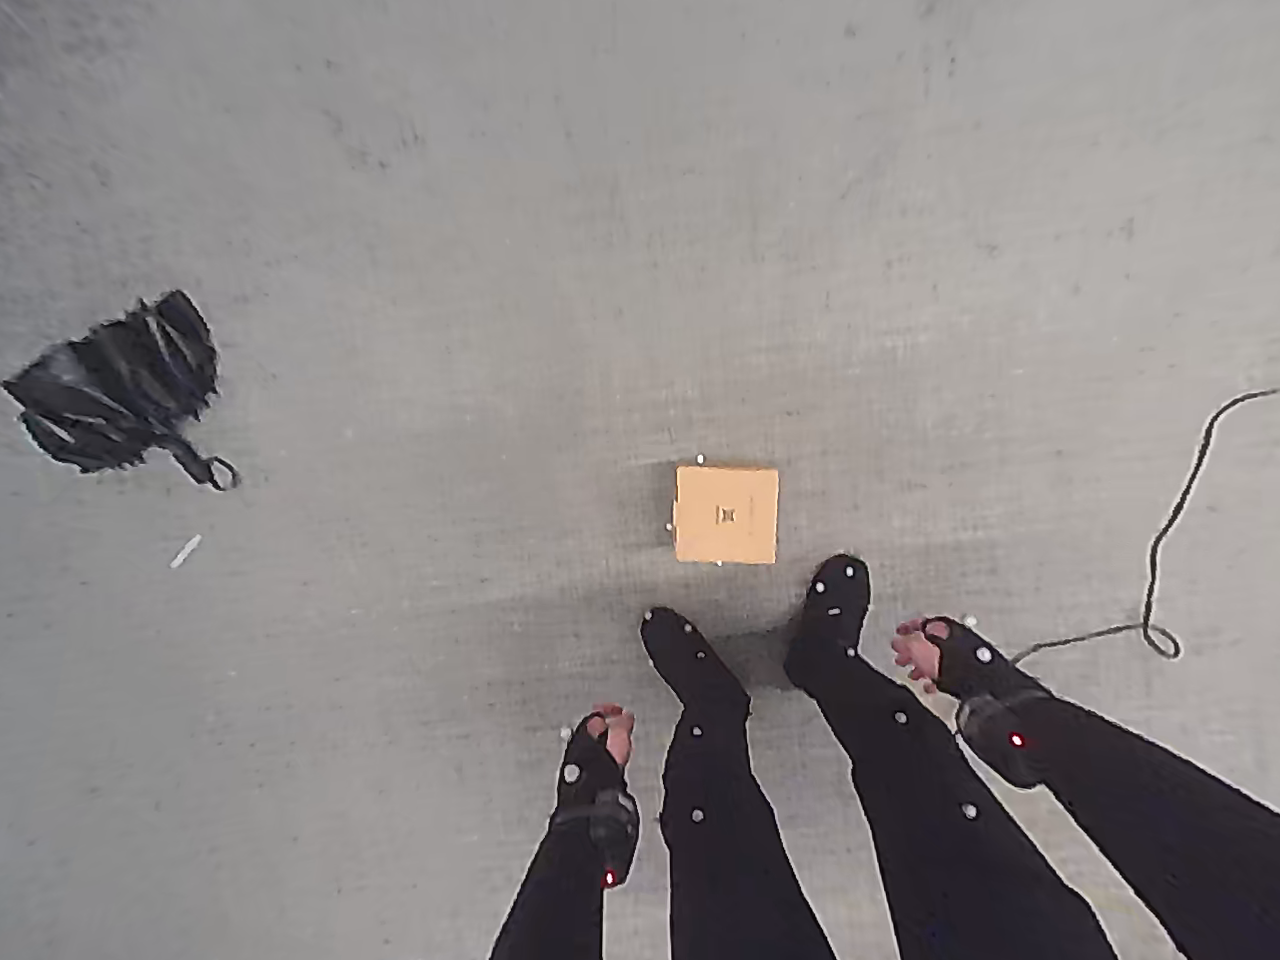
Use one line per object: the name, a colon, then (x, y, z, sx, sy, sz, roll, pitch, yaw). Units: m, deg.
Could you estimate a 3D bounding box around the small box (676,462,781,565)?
small box: (0.157, 0.056, 1.011, 0.179, 0.176, 0.168, 1, 96, 3)
